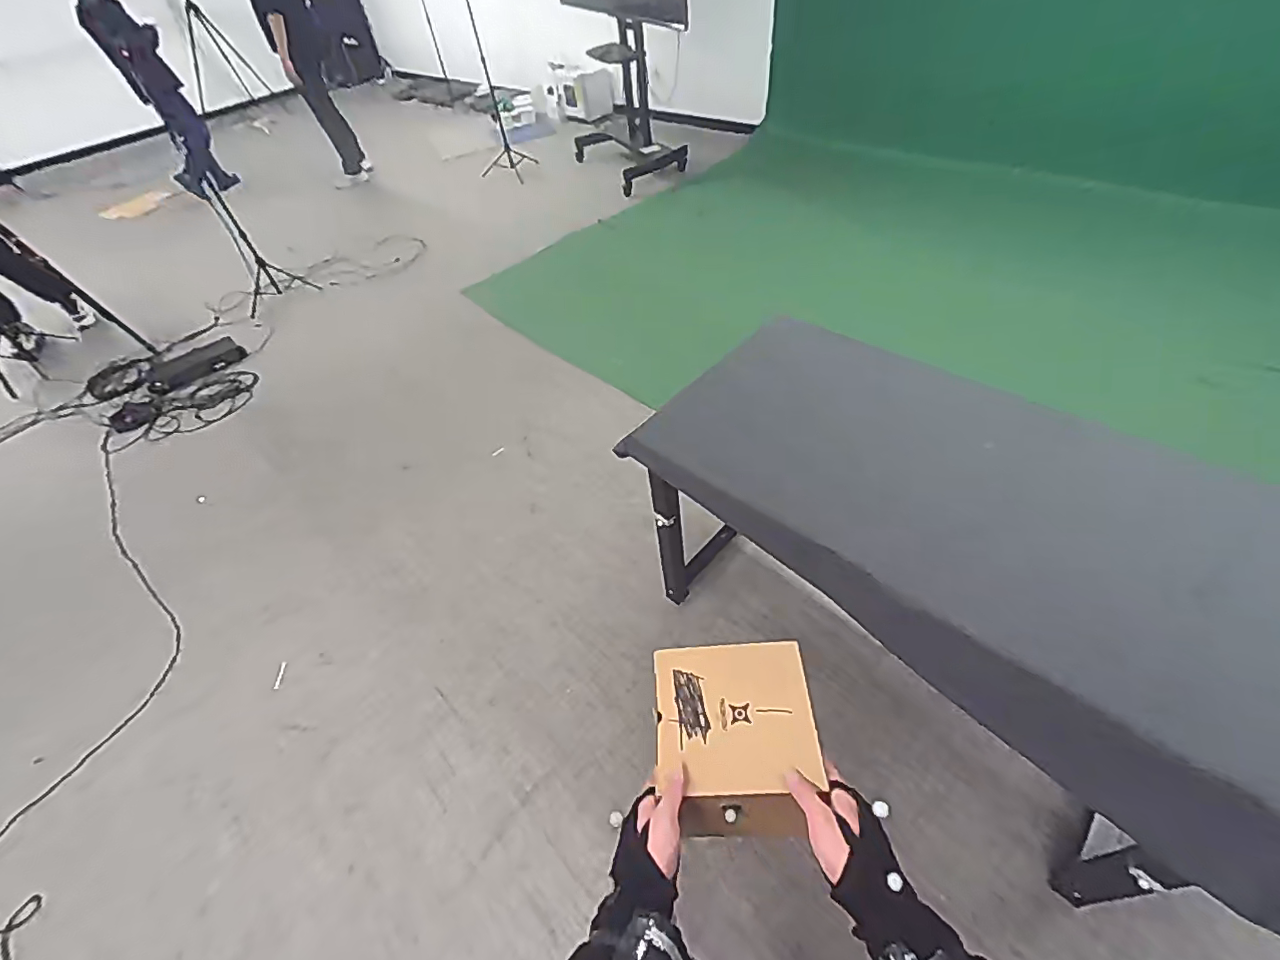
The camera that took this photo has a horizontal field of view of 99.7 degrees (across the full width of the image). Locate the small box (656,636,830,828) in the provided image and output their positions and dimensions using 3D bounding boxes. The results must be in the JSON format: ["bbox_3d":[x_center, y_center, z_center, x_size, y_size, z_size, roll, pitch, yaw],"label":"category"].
[{"bbox_3d":[0.115,0.306,0.651,0.179,0.176,0.168,-4,45,5],"label":"small box"}]
